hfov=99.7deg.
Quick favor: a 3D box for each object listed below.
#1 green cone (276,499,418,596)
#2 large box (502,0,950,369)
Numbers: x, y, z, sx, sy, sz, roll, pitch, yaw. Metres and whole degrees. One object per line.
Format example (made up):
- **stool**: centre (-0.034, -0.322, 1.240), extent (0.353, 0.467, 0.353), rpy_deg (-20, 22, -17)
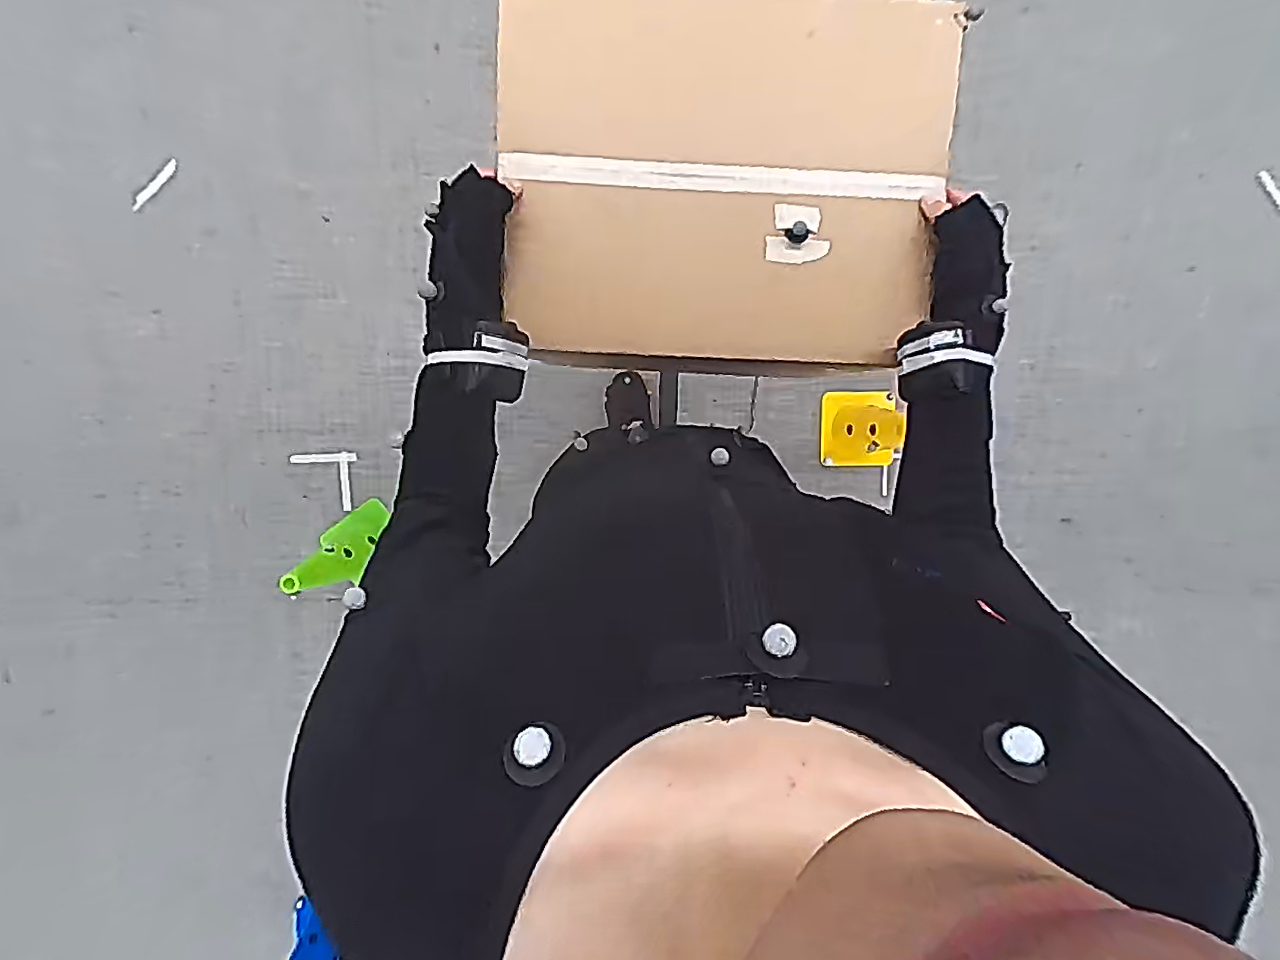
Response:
- **green cone**: centre (-0.726, 0.196, 1.287), extent (0.202, 0.368, 0.200), rpy_deg (-37, 94, 4)
- **large box**: centre (0.067, -0.300, 0.639), extent (0.408, 0.320, 0.320), rpy_deg (2, 99, -3)
